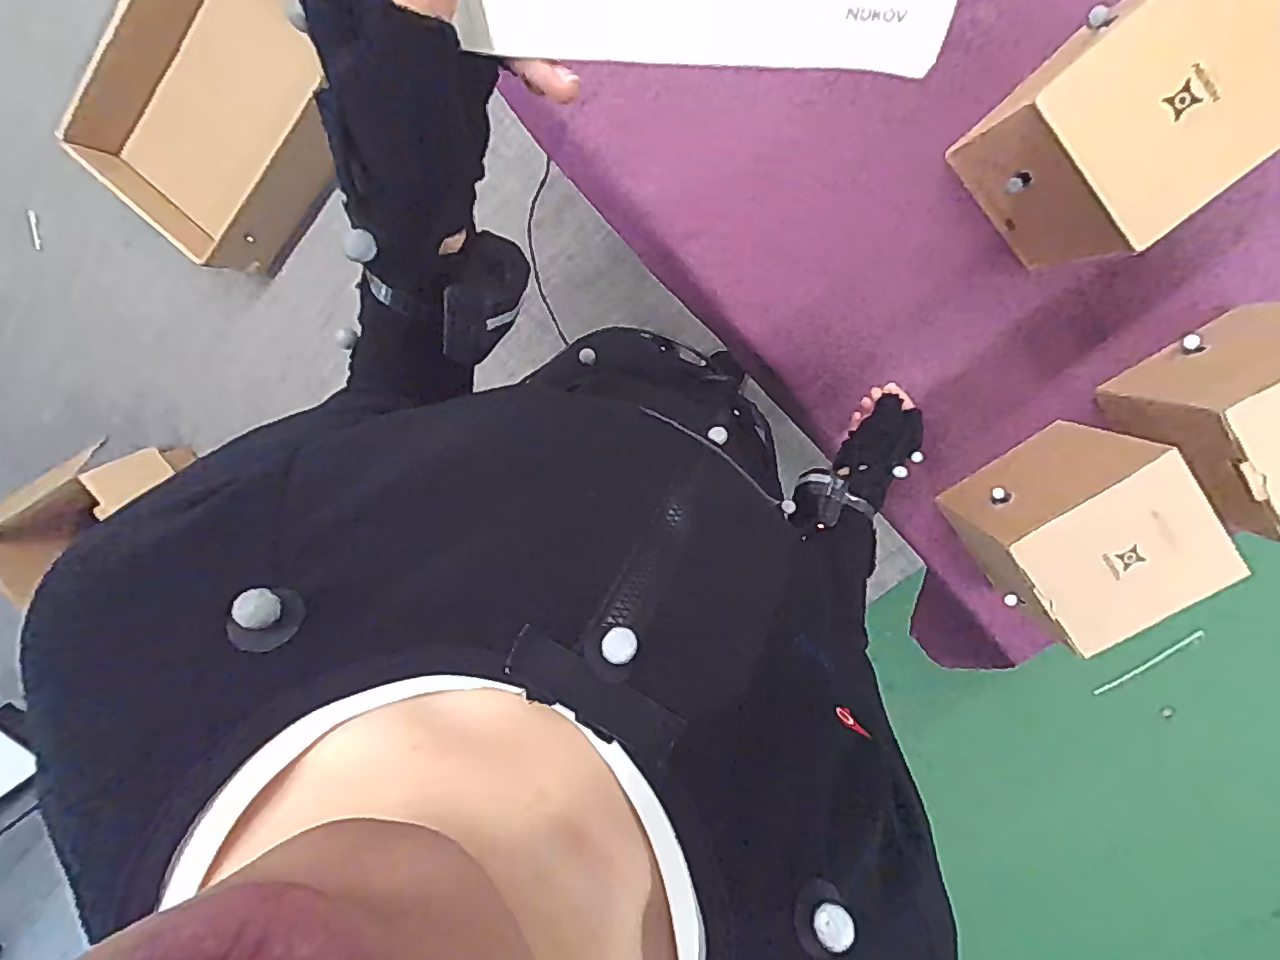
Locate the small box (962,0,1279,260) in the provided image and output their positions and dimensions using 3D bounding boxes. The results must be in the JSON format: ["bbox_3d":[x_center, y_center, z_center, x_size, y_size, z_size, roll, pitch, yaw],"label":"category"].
[{"bbox_3d":[0.446,-0.335,0.513,0.179,0.176,0.168,-41,99,14],"label":"small box"}]

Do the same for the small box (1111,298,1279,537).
[{"bbox_3d":[0.656,-0.074,0.569,0.179,0.176,0.168,-34,101,14],"label":"small box"}]
